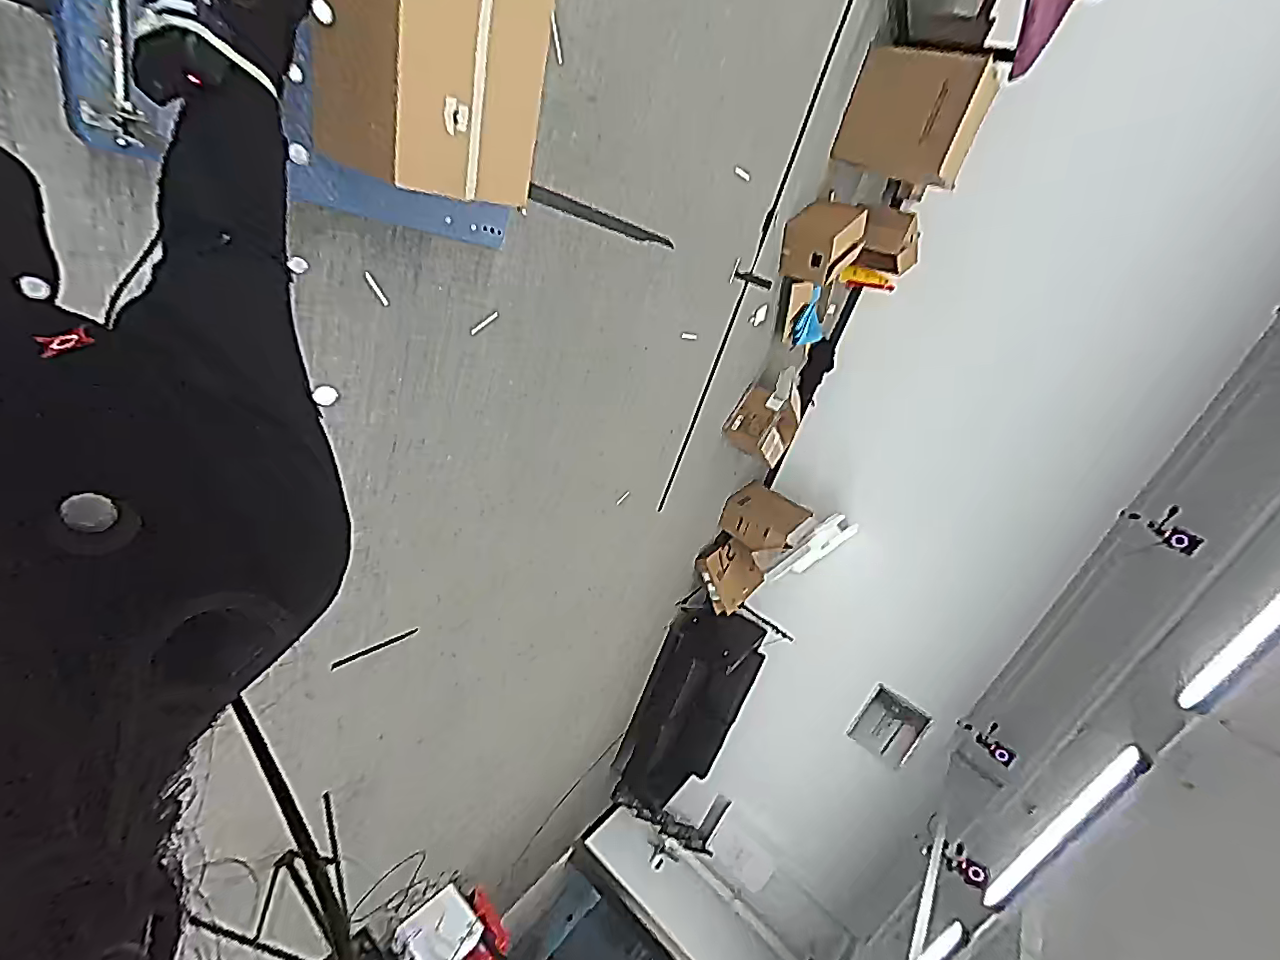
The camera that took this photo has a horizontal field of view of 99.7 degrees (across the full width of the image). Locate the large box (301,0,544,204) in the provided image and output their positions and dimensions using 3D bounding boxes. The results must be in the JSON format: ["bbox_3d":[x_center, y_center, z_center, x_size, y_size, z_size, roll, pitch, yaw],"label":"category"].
[{"bbox_3d":[-0.429,-0.816,1.058,0.320,0.320,0.408,-22,137,-49],"label":"large box"}]
